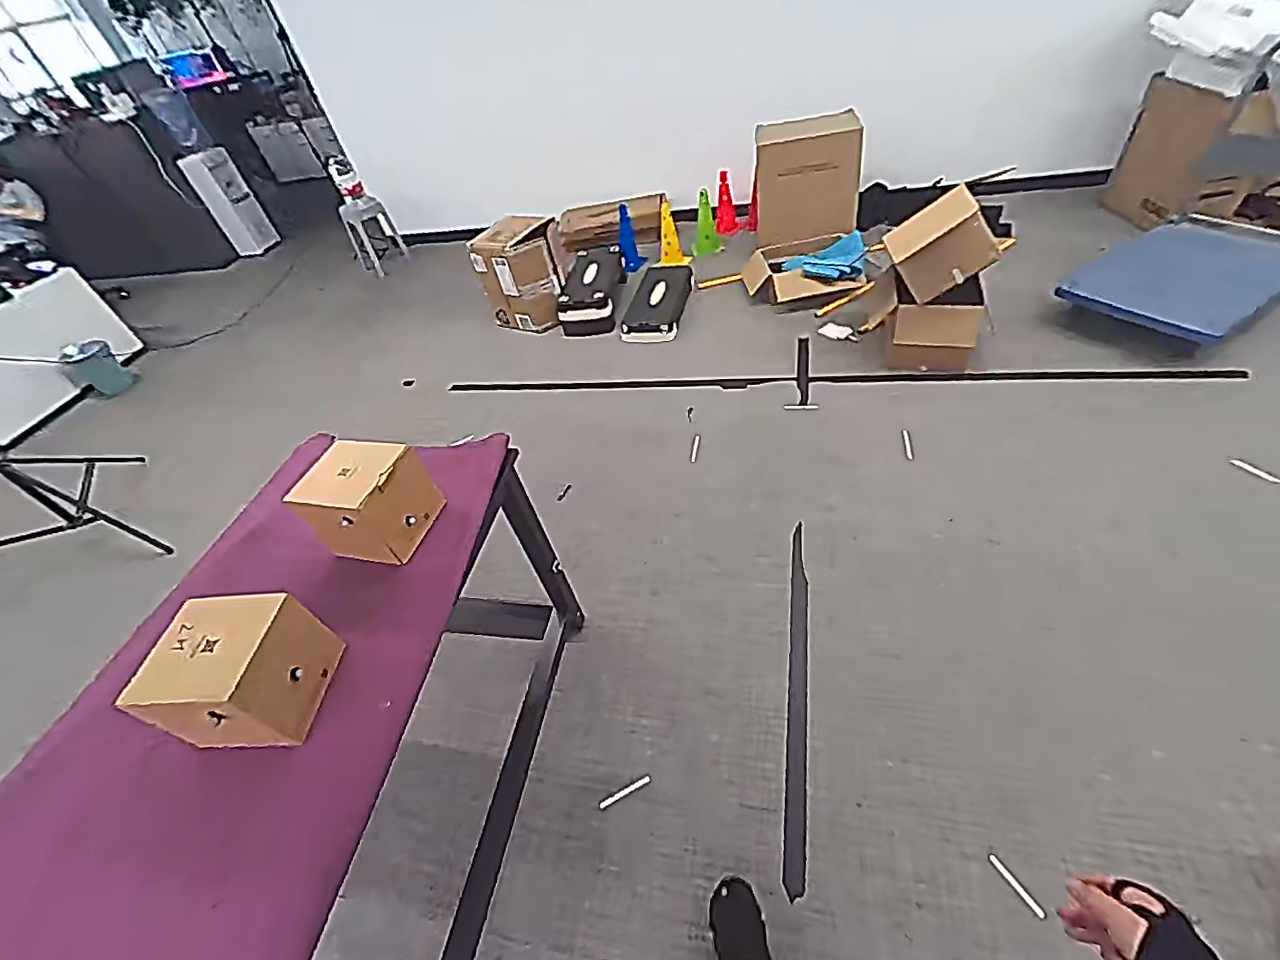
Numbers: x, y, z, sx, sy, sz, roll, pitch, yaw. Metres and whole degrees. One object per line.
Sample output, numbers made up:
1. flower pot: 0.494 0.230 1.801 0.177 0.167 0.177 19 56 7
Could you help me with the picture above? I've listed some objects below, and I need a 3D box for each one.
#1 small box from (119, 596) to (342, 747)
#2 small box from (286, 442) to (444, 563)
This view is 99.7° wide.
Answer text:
1. small box: -0.600 0.294 0.825 0.179 0.176 0.168 -5 45 8
2. small box: -0.522 0.045 1.051 0.179 0.176 0.168 4 48 18
